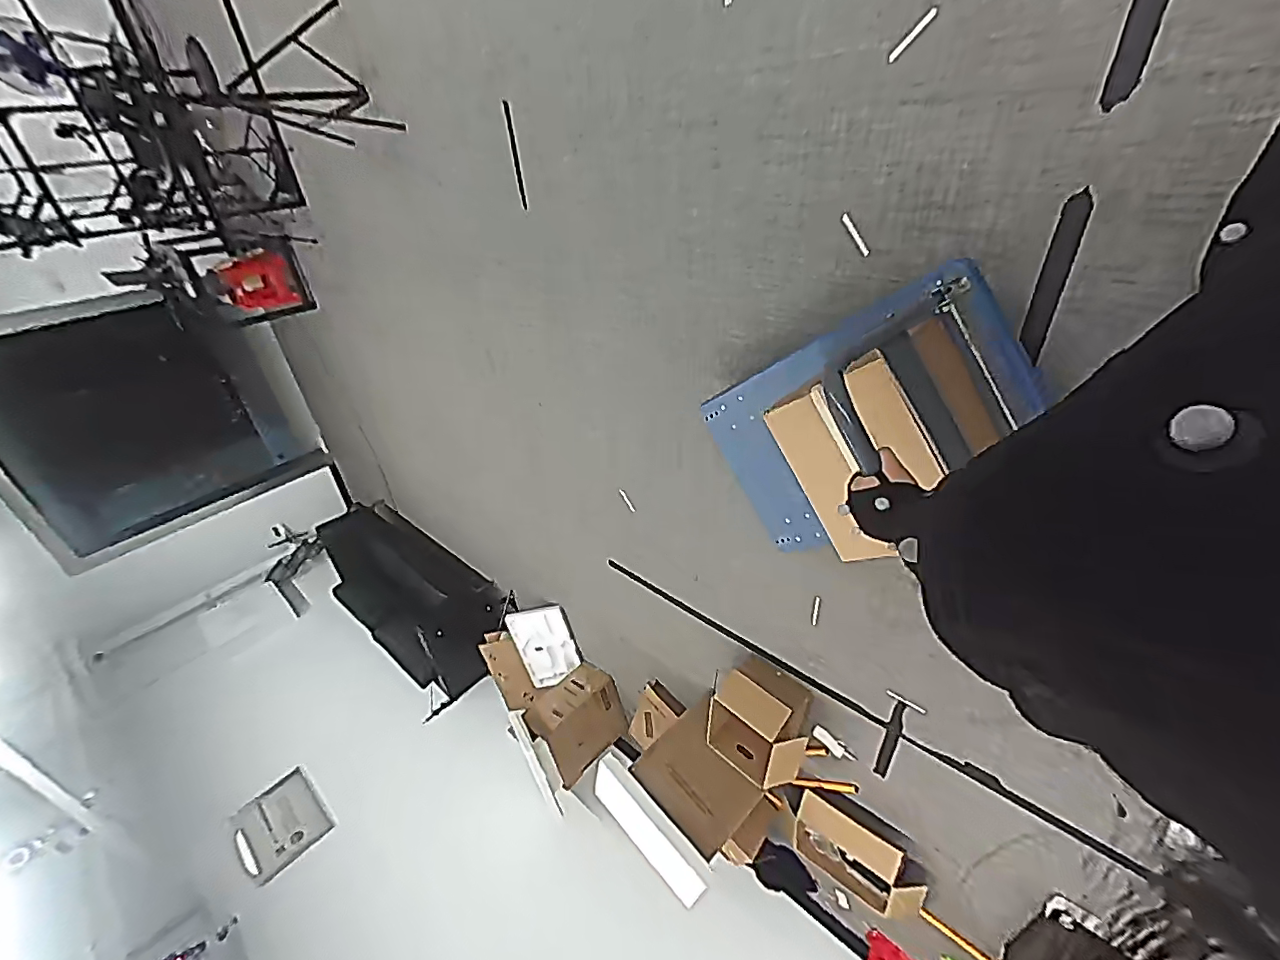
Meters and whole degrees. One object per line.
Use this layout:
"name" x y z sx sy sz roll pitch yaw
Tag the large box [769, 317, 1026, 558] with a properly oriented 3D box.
"large box" 0.578 -0.088 1.220 0.320 0.320 0.408 -26 95 53
